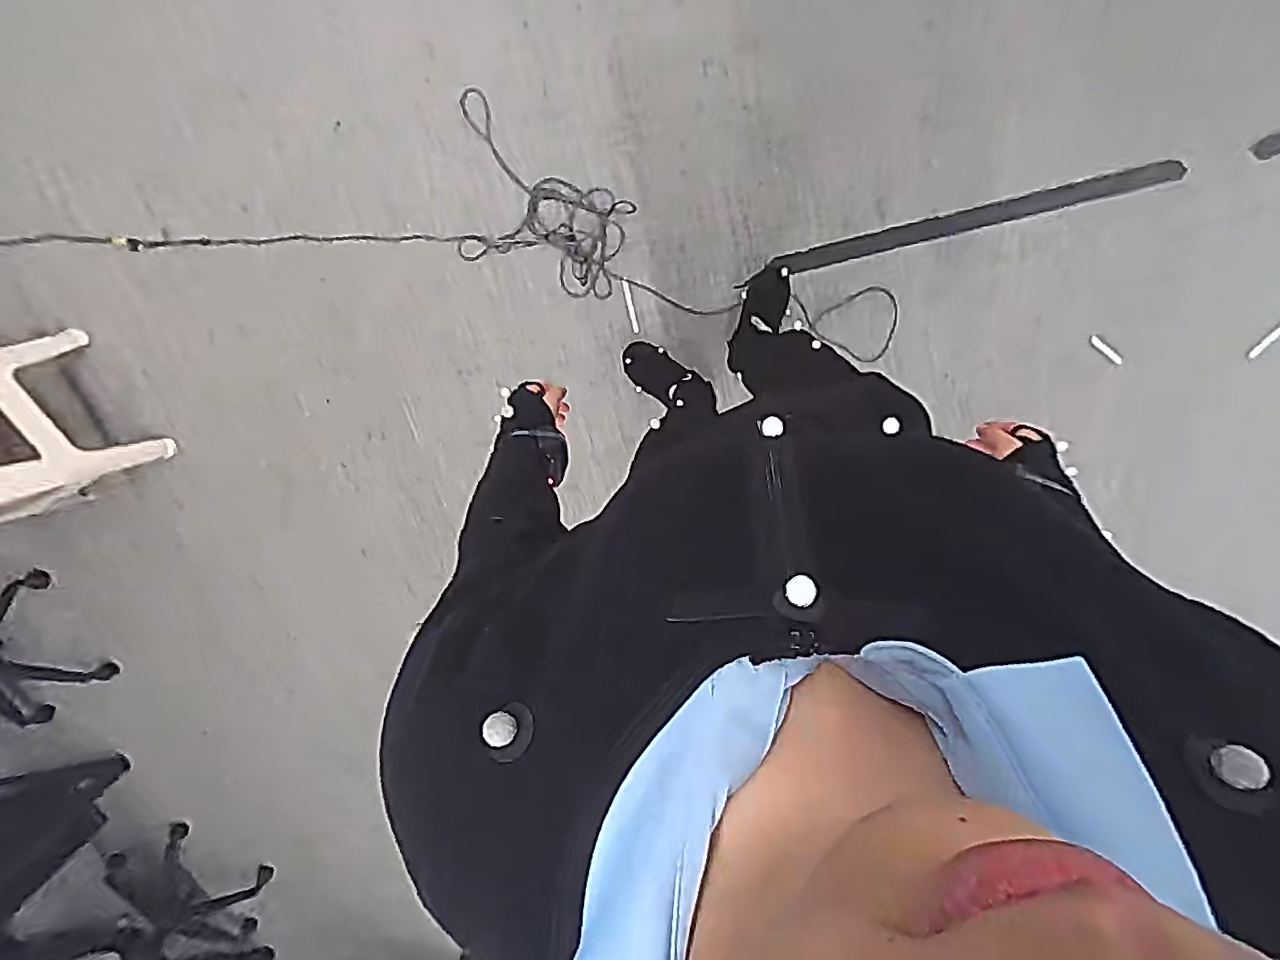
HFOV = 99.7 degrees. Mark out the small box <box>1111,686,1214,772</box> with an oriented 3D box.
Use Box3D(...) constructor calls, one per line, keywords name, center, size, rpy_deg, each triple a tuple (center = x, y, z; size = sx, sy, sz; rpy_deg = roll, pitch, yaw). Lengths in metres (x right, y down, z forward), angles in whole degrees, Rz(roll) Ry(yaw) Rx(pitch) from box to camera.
Box3D(name="small box", center=(1.628, 0.770, 1.694), size=(0.168, 0.176, 0.179), rpy_deg=(-15, 110, 8))
